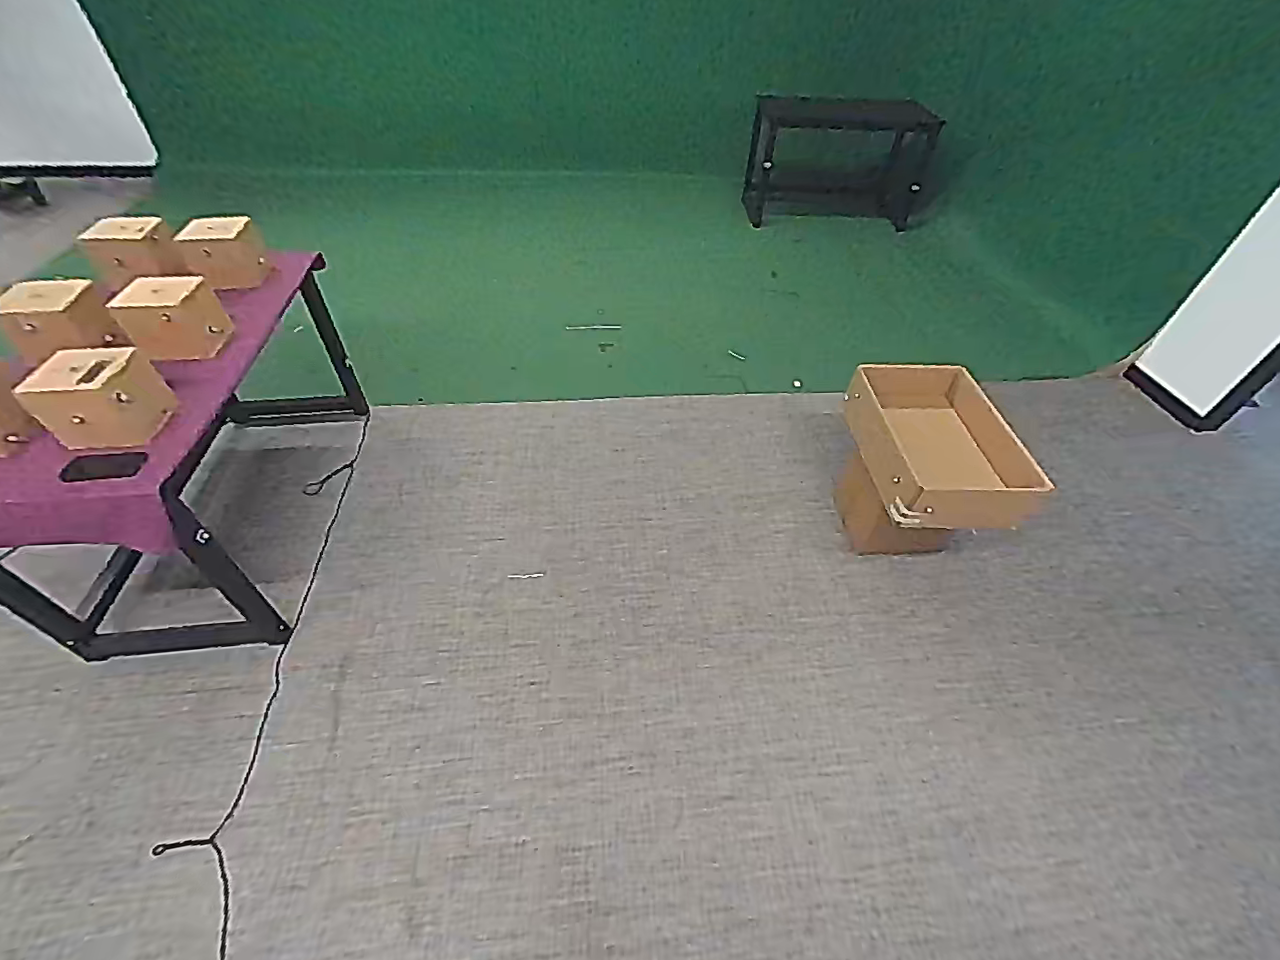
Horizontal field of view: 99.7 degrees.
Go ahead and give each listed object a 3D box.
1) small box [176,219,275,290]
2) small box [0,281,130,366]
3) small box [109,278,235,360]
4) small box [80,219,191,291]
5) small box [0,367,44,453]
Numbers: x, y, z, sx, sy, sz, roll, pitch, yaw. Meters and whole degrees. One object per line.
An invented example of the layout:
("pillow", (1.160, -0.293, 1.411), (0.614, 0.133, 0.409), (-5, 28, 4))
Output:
("small box", (-1.360, -0.741, 1.786), (0.179, 0.176, 0.168), (-5, 48, -6))
("small box", (-1.571, -0.424, 1.474), (0.179, 0.176, 0.168), (-5, 47, -9))
("small box", (-1.296, -0.448, 1.512), (0.179, 0.176, 0.168), (-3, 46, -5))
("small box", (-1.634, -0.732, 1.765), (0.179, 0.176, 0.168), (-5, 47, -8))
("small box", (-1.534, -0.159, 1.217), (0.179, 0.176, 0.168), (-6, 46, -9))
